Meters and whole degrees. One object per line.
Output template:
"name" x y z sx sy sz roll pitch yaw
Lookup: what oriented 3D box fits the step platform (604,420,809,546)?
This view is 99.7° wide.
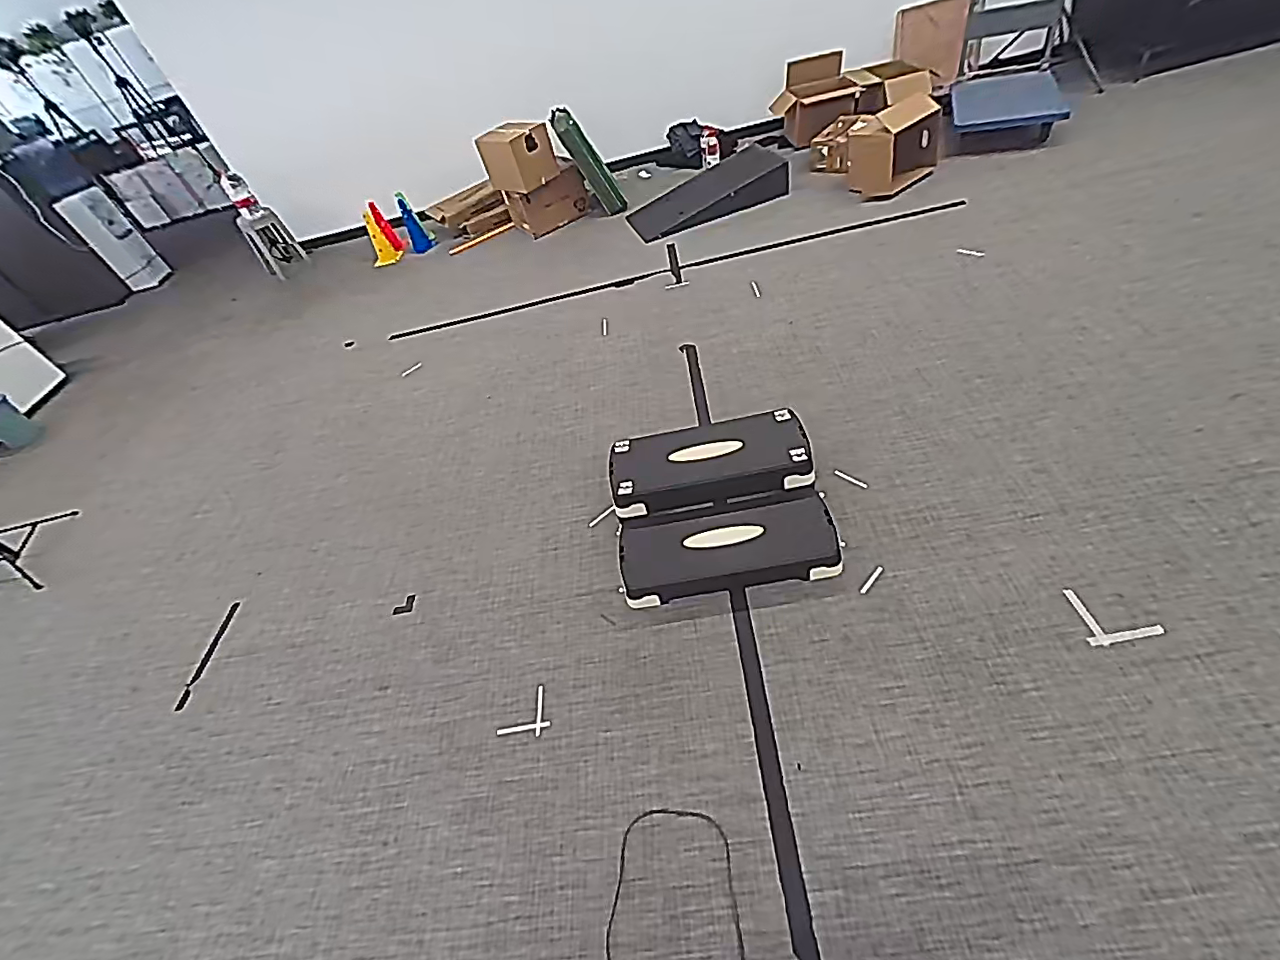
"step platform" 0.217 0.006 1.854 0.684 0.204 0.286 -11 46 5
